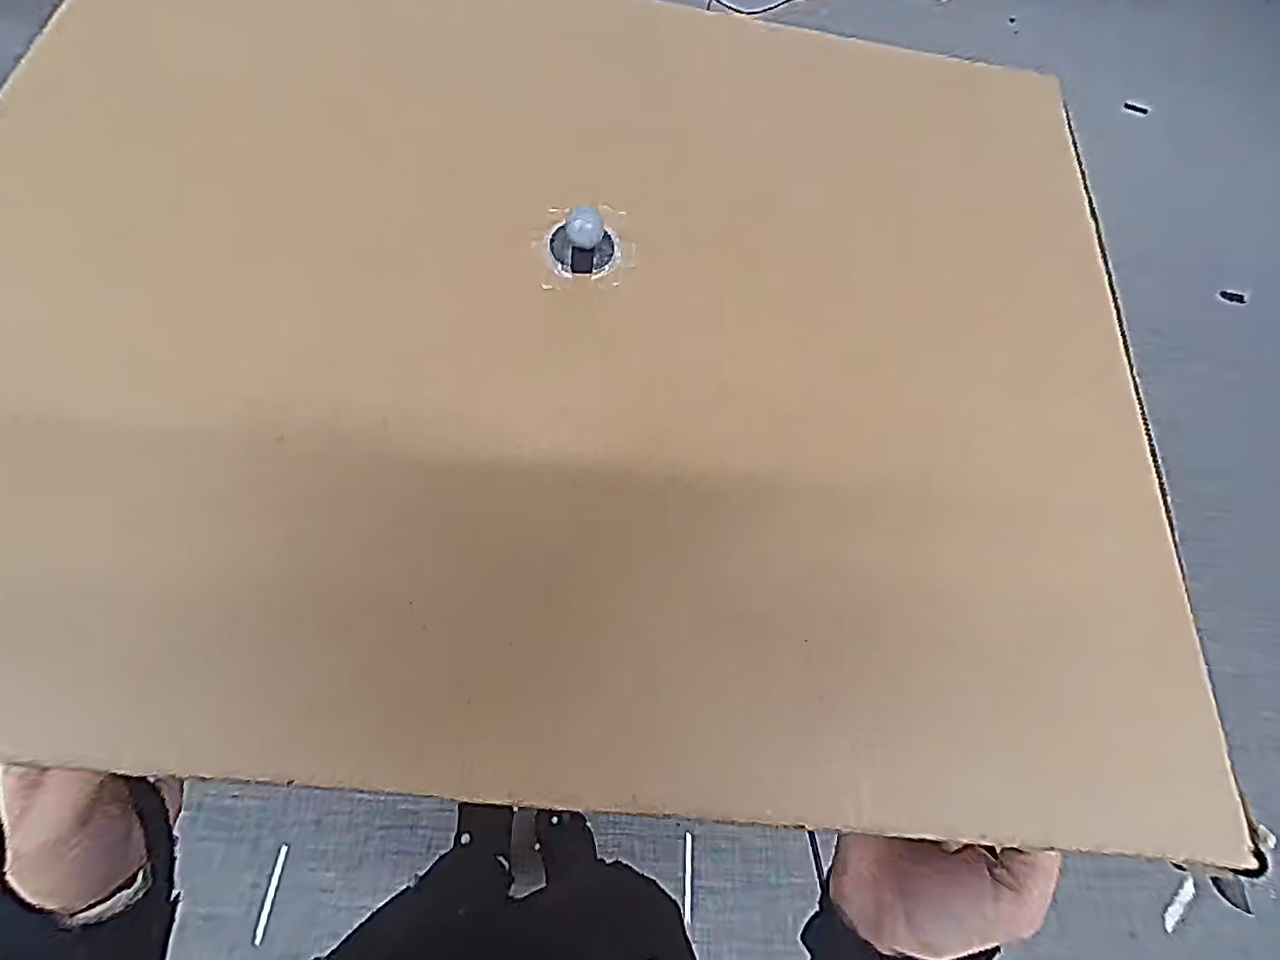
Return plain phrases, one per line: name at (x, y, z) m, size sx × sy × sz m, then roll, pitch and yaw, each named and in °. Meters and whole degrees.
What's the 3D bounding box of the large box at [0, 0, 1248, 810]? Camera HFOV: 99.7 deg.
large box at (-0.037, -0.027, 0.323) m, size 0.408 × 0.320 × 0.320 m, roll 7°, pitch 71°, yaw -3°
